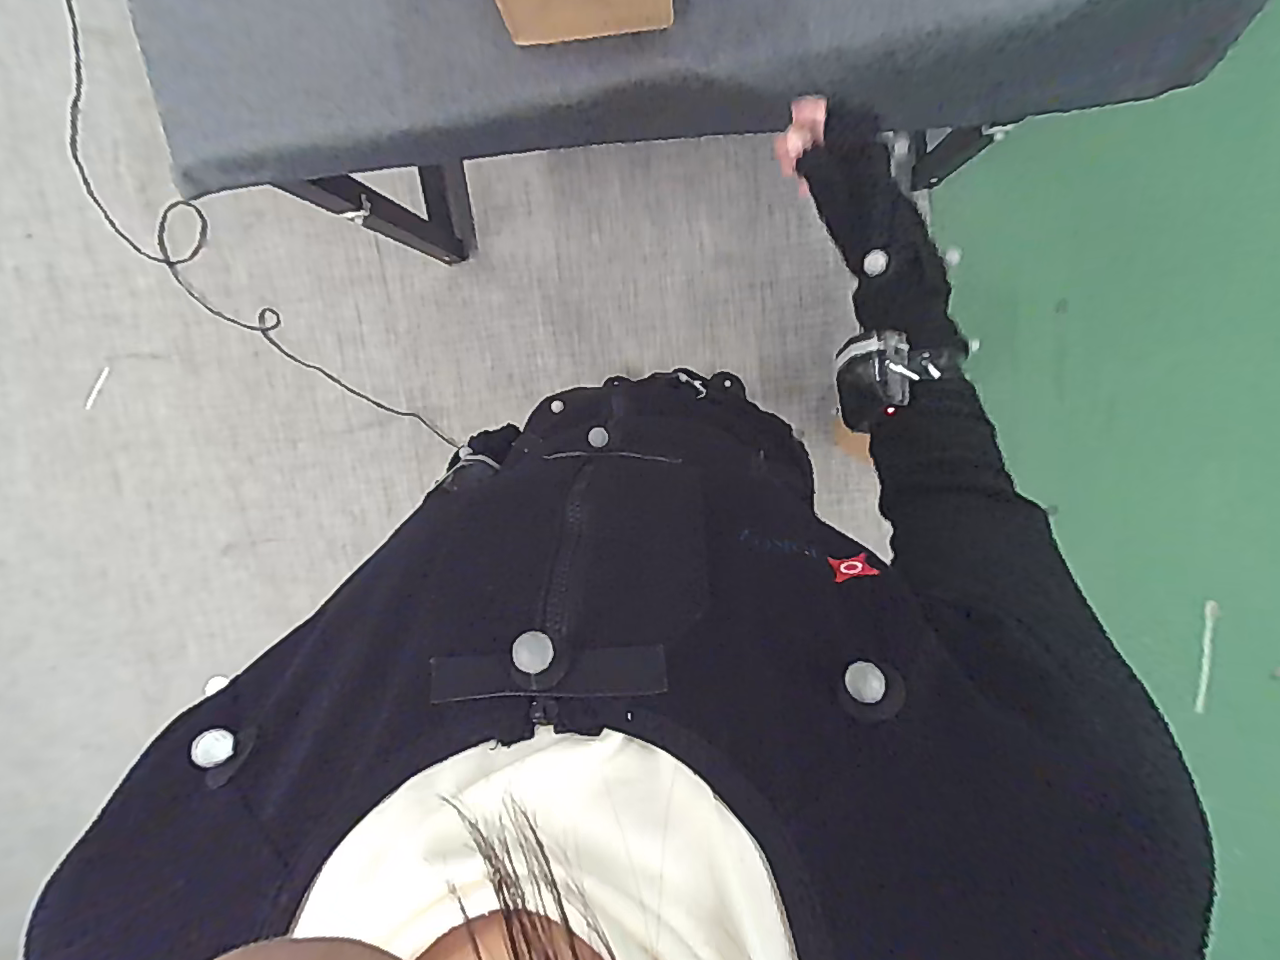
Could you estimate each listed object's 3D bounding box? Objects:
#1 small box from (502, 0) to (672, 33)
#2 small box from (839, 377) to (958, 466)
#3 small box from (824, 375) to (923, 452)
[{"bbox_3d":[-0.063,-0.556,0.497,0.179,0.176,0.168,-2,100,5],"label":"small box"},{"bbox_3d":[0.526,-0.126,1.122,0.179,0.176,0.168,-3,100,5],"label":"small box"},{"bbox_3d":[0.549,-0.159,1.282,0.179,0.176,0.168,-6,100,6],"label":"small box"}]
